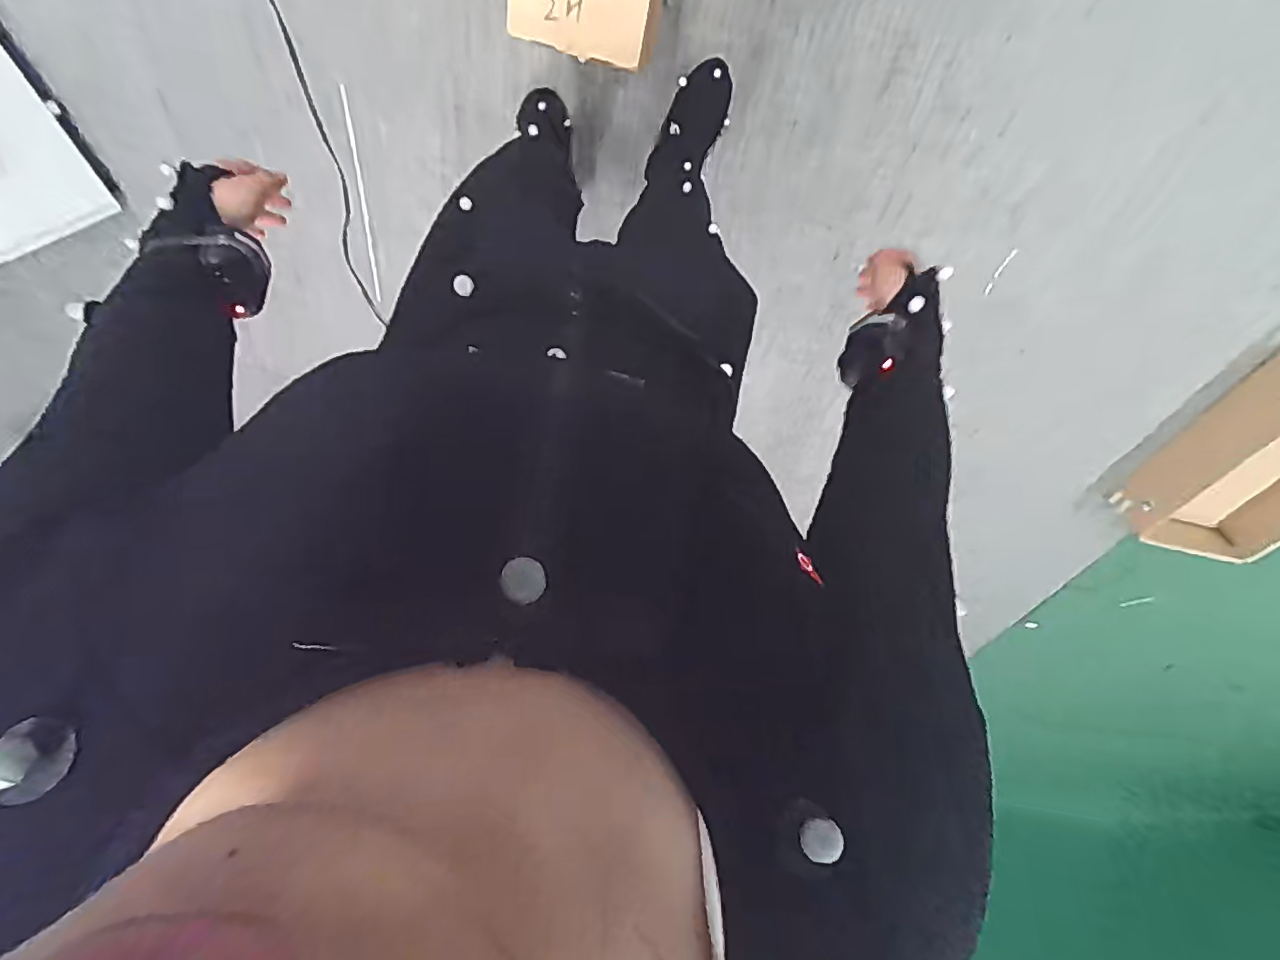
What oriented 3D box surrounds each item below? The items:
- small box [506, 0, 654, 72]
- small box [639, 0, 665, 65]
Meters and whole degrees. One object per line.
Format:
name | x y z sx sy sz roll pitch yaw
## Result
small box | -0.061 -0.643 0.670 0.168 0.176 0.179 12 132 -7
small box | -0.041 -0.748 0.796 0.168 0.176 0.179 12 131 -7
